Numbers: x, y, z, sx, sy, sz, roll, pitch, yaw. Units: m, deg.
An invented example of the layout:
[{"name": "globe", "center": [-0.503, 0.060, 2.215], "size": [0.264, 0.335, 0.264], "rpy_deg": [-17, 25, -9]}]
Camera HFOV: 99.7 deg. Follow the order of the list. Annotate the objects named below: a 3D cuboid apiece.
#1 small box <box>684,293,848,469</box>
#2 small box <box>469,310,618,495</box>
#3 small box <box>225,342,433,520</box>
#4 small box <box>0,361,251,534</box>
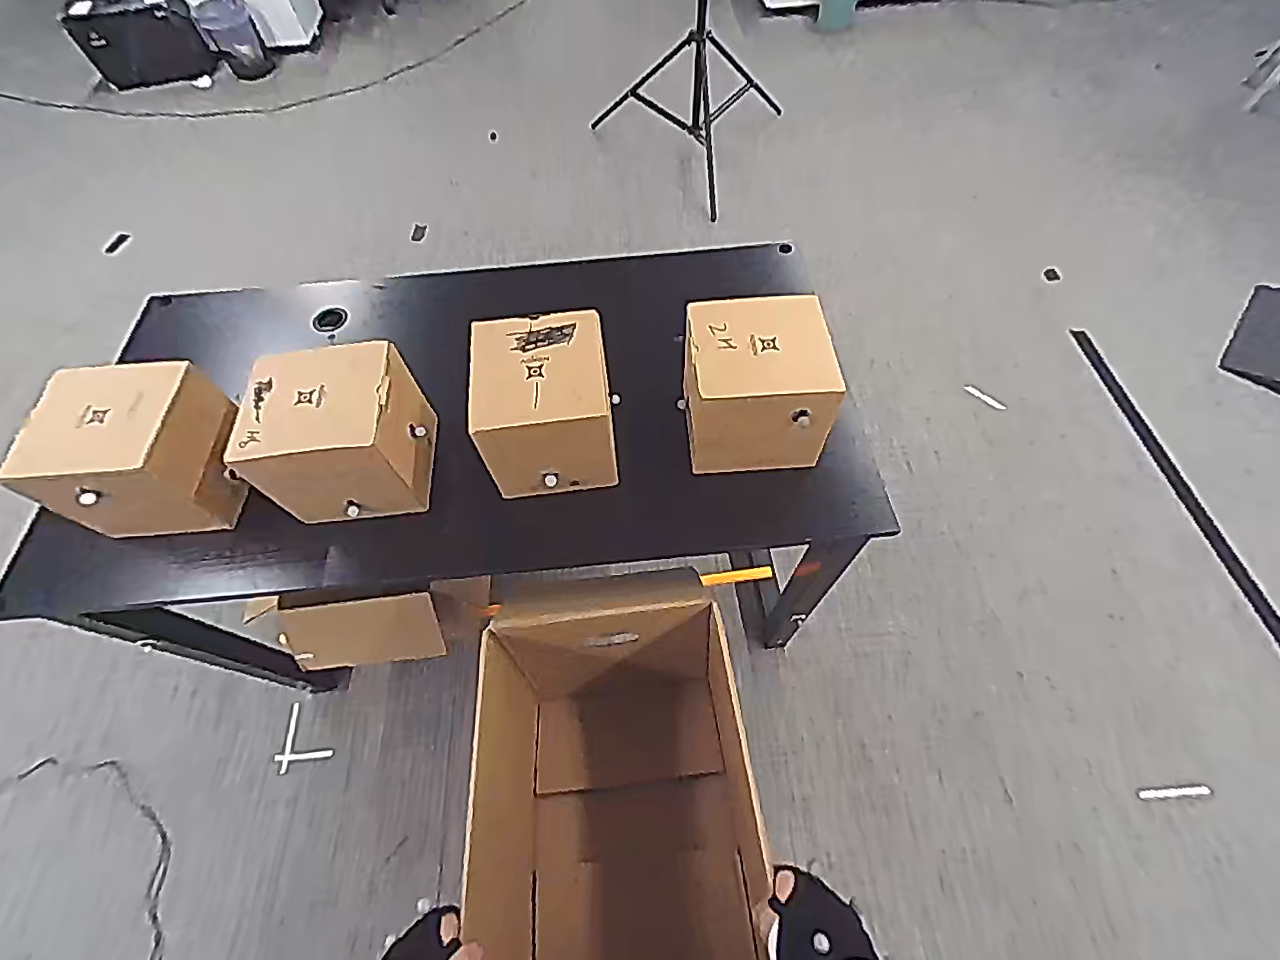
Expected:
[{"name": "small box", "center": [0.156, -0.129, 0.736], "size": [0.179, 0.176, 0.168], "rpy_deg": [-4, 59, 1]}, {"name": "small box", "center": [-0.122, -0.101, 0.733], "size": [0.168, 0.176, 0.179], "rpy_deg": [-7, 60, -2]}, {"name": "small box", "center": [-0.391, -0.059, 0.721], "size": [0.179, 0.176, 0.168], "rpy_deg": [-6, 60, -3]}, {"name": "small box", "center": [-0.654, -0.036, 0.717], "size": [0.179, 0.176, 0.168], "rpy_deg": [-3, 60, -1]}]
